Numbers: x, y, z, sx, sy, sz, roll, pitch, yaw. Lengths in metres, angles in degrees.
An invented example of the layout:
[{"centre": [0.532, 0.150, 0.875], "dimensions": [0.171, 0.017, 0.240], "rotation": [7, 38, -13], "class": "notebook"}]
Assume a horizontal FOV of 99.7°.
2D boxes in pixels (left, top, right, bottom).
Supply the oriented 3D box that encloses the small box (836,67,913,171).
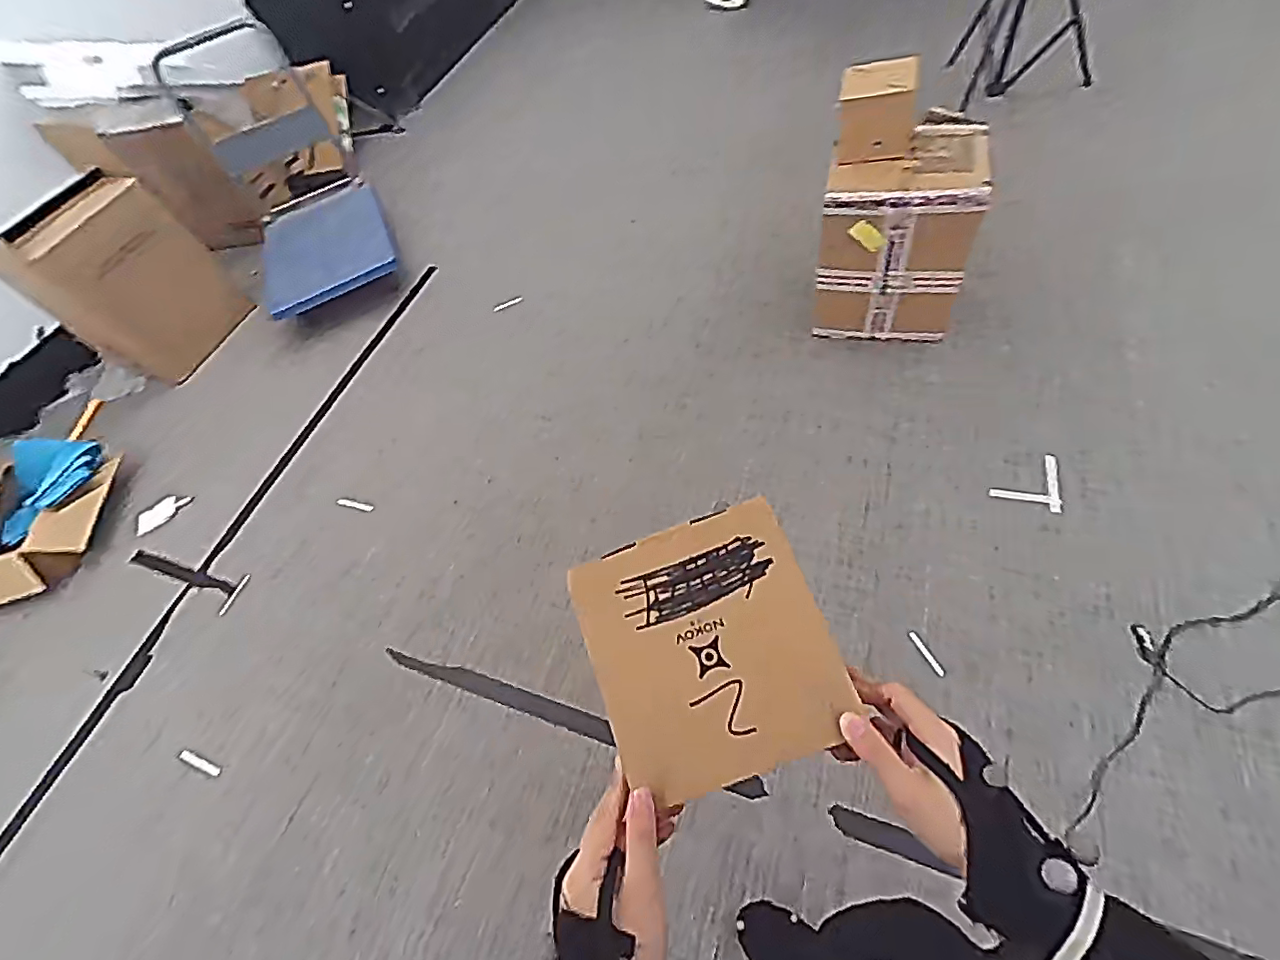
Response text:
[{"centre": [0.623, -0.963, 1.441], "dimensions": [0.179, 0.176, 0.168], "rotation": [6, 60, 20], "class": "small box"}]
